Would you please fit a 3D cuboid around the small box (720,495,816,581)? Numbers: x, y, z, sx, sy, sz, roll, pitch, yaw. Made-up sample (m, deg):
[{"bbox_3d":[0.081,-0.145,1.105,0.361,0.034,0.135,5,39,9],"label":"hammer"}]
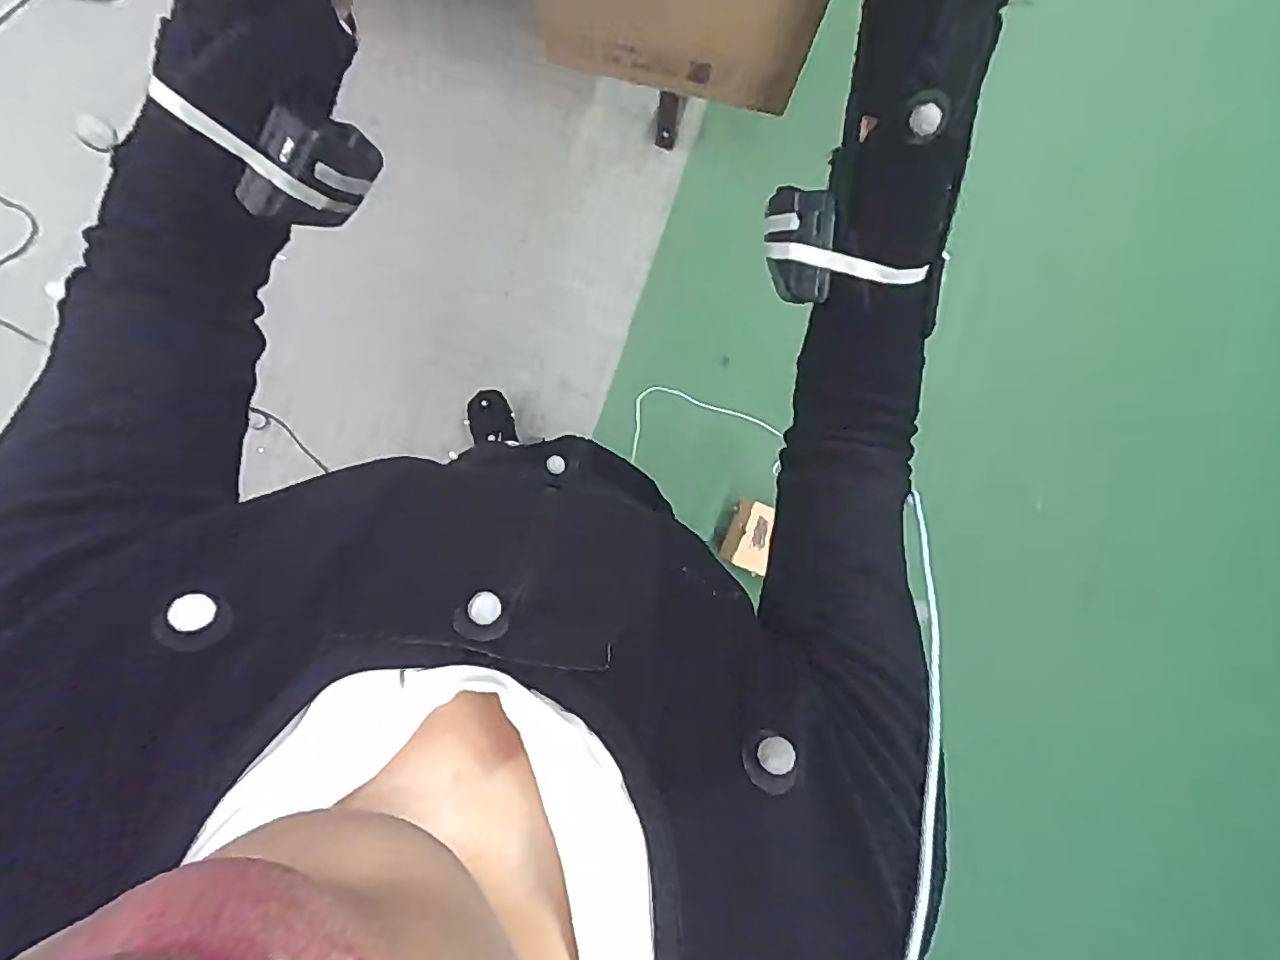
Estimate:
[{"bbox_3d":[0.325,0.146,1.417,0.179,0.176,0.168,22,90,-3],"label":"small box"}]
